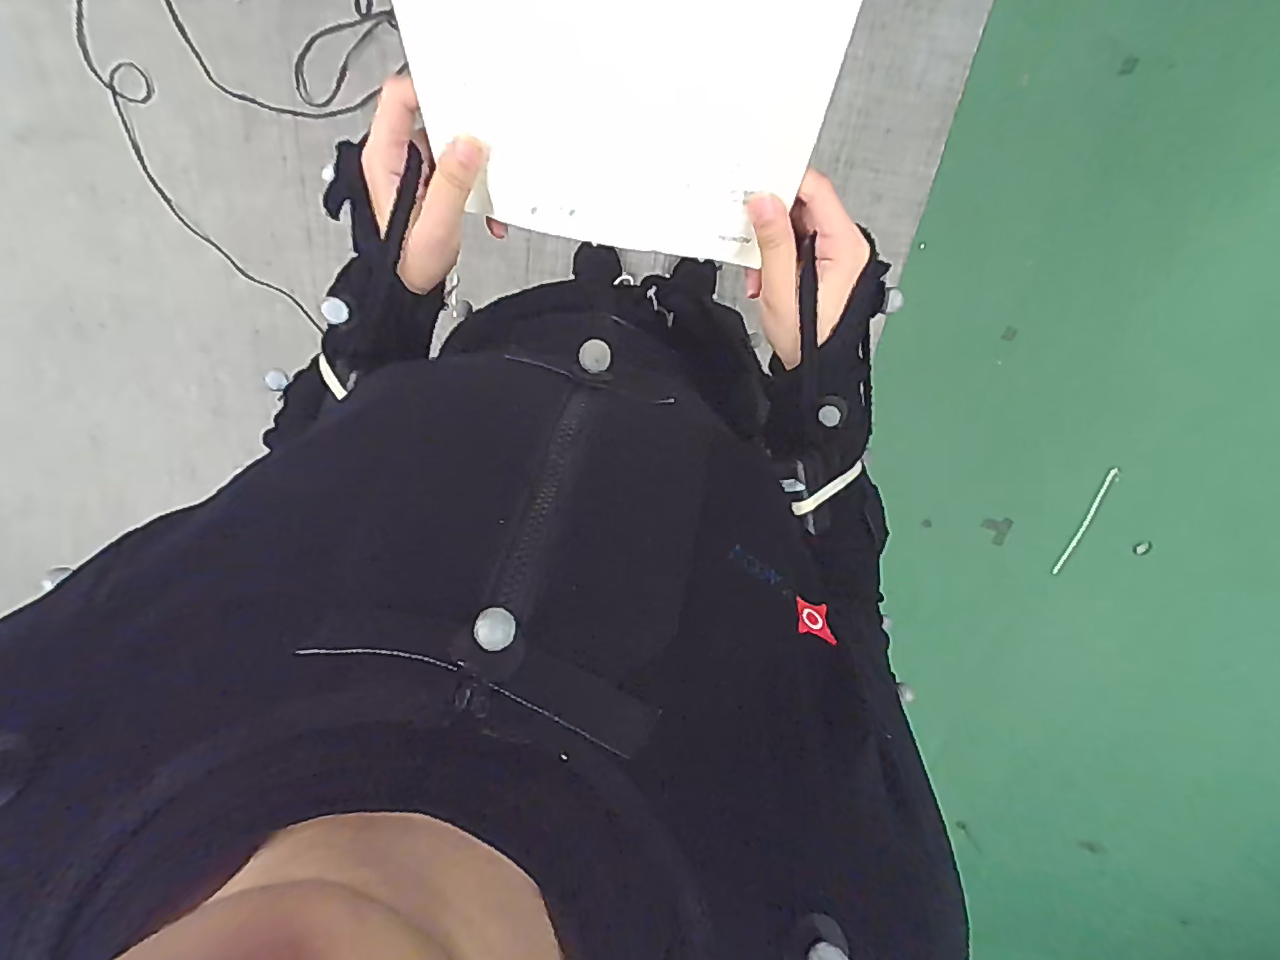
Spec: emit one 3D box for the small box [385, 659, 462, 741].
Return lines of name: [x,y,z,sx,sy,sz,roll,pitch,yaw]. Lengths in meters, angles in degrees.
small box: [-0.671,0.688,1.701,0.179,0.176,0.168,7,115,2]
